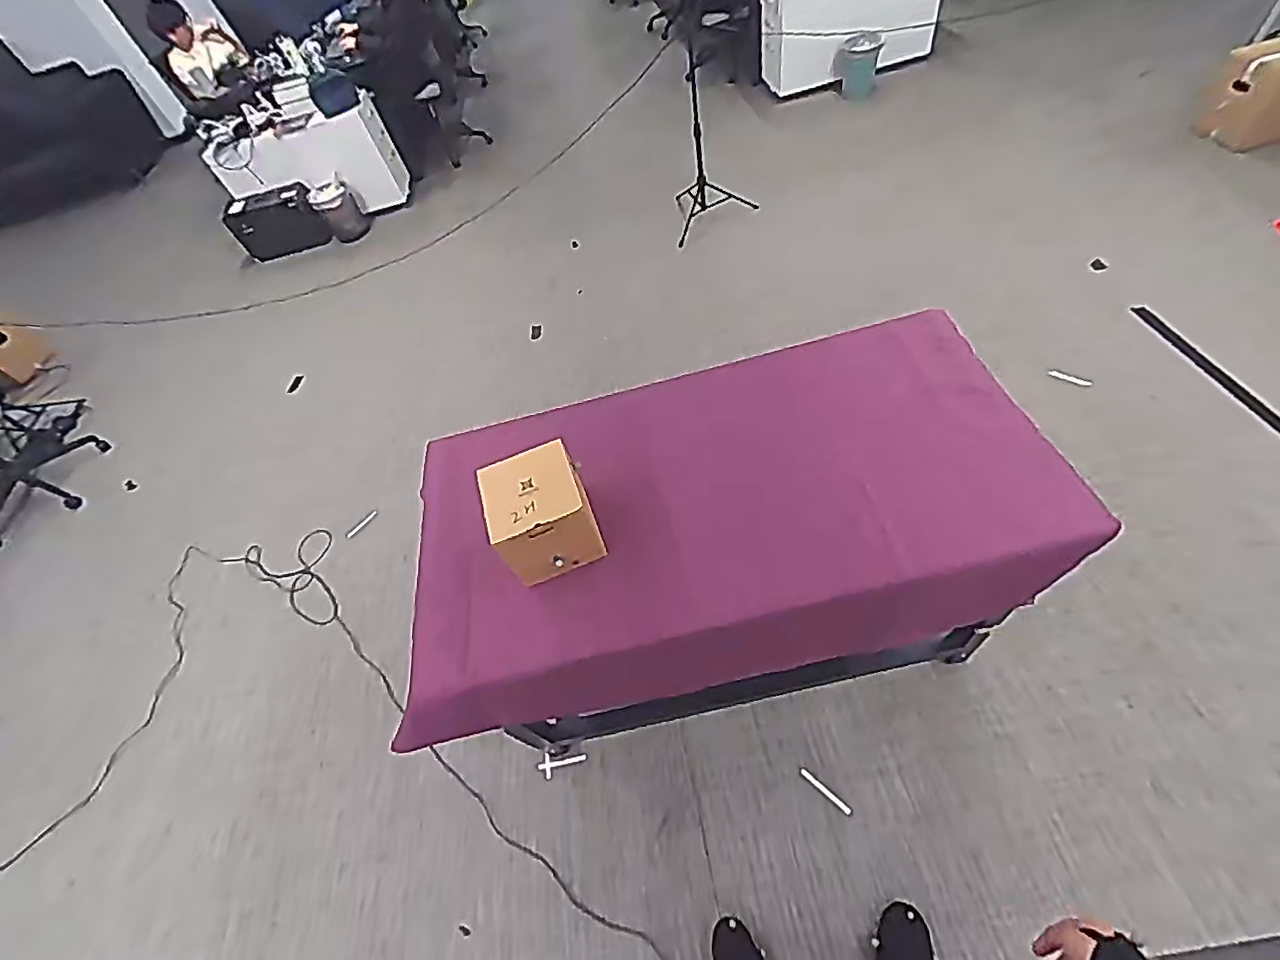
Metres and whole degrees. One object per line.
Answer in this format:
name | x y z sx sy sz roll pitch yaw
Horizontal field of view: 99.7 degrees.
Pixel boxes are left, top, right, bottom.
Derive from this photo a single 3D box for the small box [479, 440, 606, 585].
small box | -0.177 0.063 0.997 0.168 0.176 0.179 -22 53 -3
